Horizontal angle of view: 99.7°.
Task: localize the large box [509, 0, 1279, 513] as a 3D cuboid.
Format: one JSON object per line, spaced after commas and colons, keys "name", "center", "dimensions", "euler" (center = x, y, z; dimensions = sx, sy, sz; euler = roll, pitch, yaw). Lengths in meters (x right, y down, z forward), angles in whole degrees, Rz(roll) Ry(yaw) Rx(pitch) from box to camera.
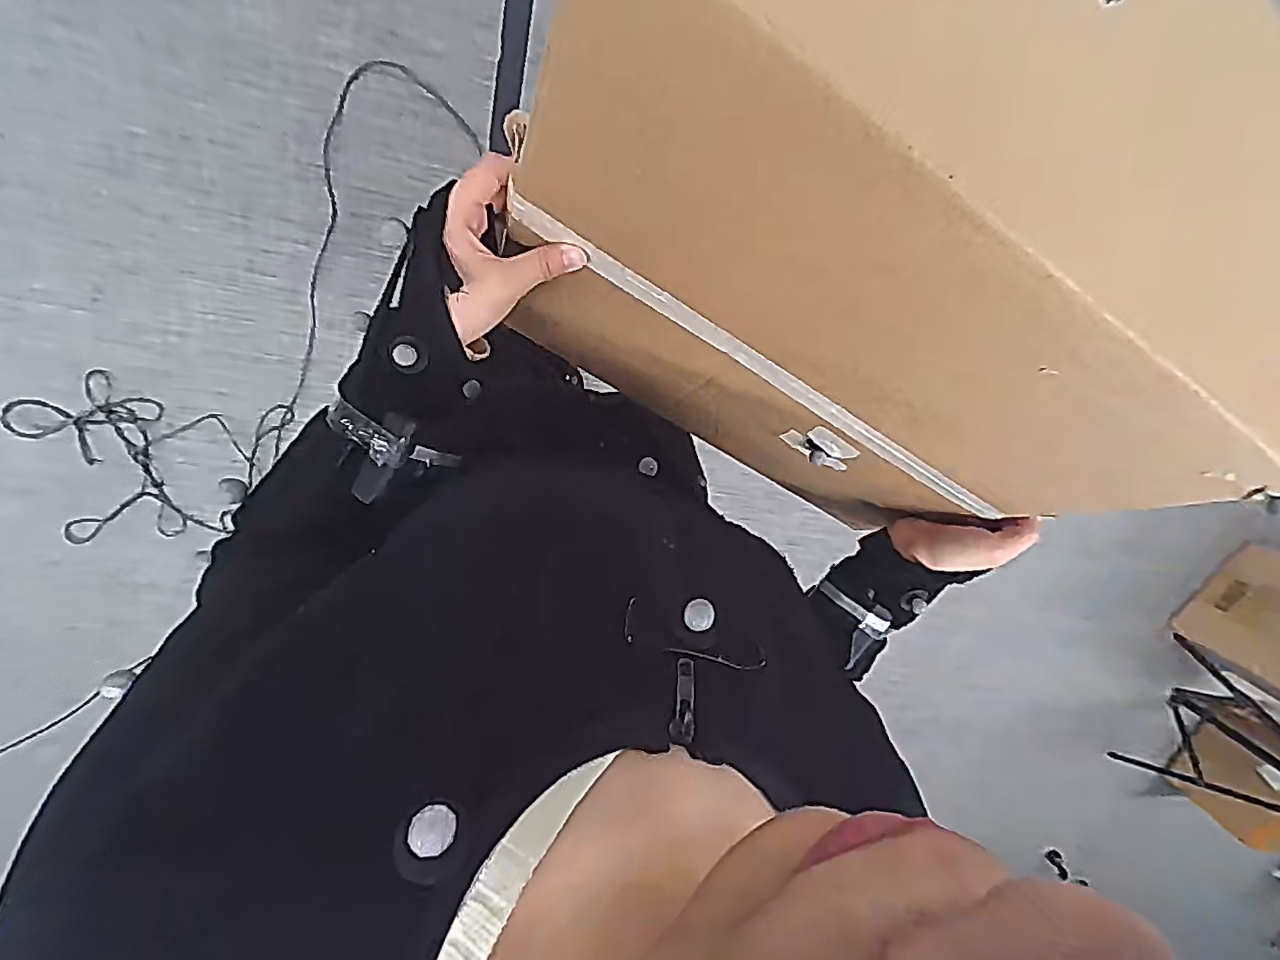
{"name": "large box", "center": [0.171, -0.212, 0.371], "dimensions": [0.408, 0.320, 0.320], "euler": [28, 74, -14]}
